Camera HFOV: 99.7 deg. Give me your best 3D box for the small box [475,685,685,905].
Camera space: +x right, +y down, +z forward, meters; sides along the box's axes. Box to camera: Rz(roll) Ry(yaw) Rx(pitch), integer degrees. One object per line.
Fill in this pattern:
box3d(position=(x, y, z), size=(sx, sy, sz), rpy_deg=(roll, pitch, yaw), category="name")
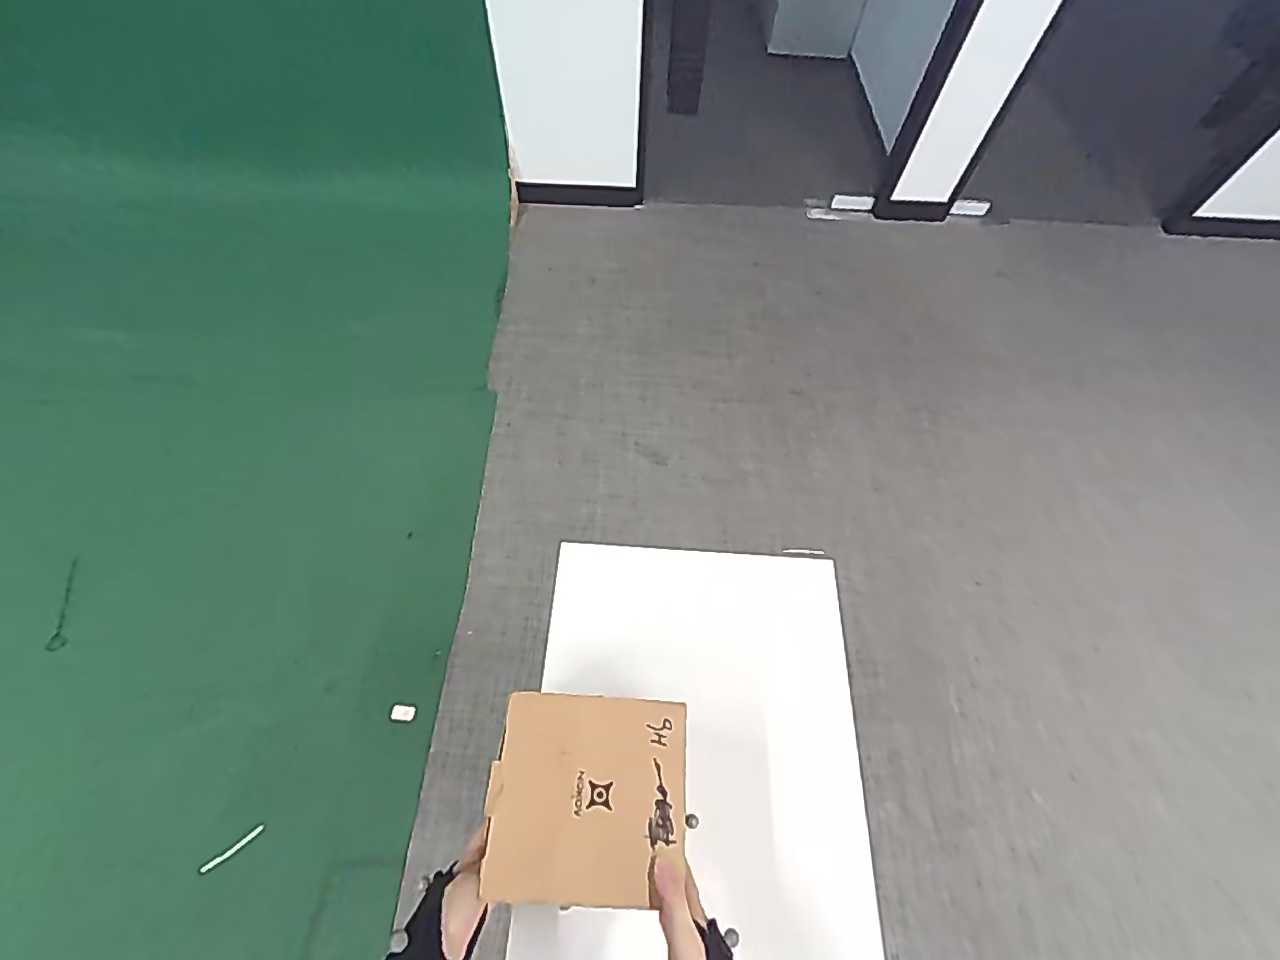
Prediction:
box3d(position=(-0.052, 0.320, 0.561), size=(0.179, 0.176, 0.168), rpy_deg=(5, 60, -2), category="small box")
